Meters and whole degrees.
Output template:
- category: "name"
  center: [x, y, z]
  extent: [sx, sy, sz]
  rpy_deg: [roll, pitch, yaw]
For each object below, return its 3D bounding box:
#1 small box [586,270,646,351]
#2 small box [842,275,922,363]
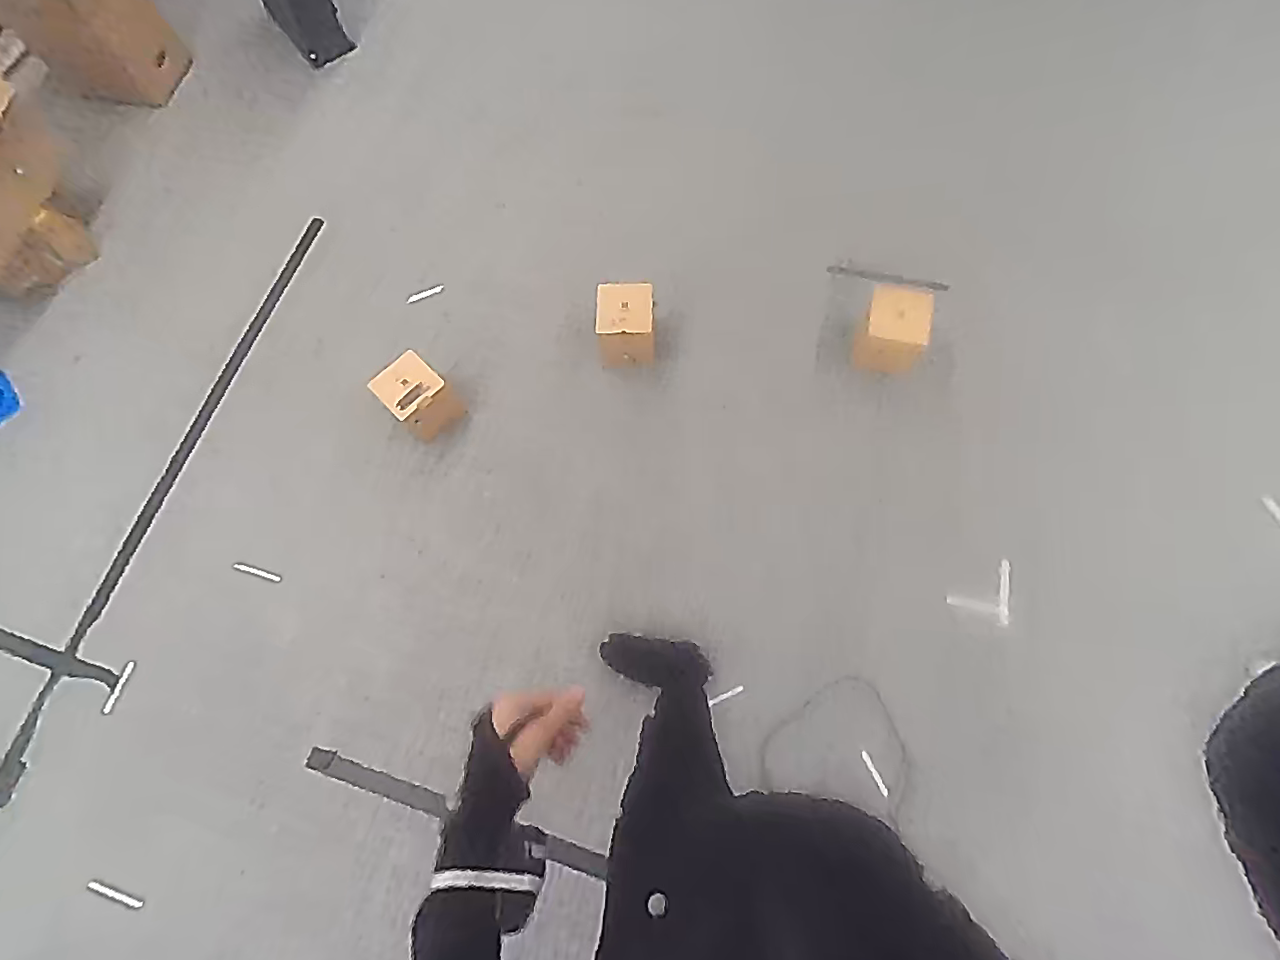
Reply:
- category: "small box"
  center: [-0.069, -0.518, 1.657]
  extent: [0.168, 0.176, 0.179]
  rpy_deg: [1, 73, 3]
- category: "small box"
  center: [0.714, -0.473, 1.610]
  extent: [0.168, 0.176, 0.179]
  rpy_deg: [13, 73, 7]
